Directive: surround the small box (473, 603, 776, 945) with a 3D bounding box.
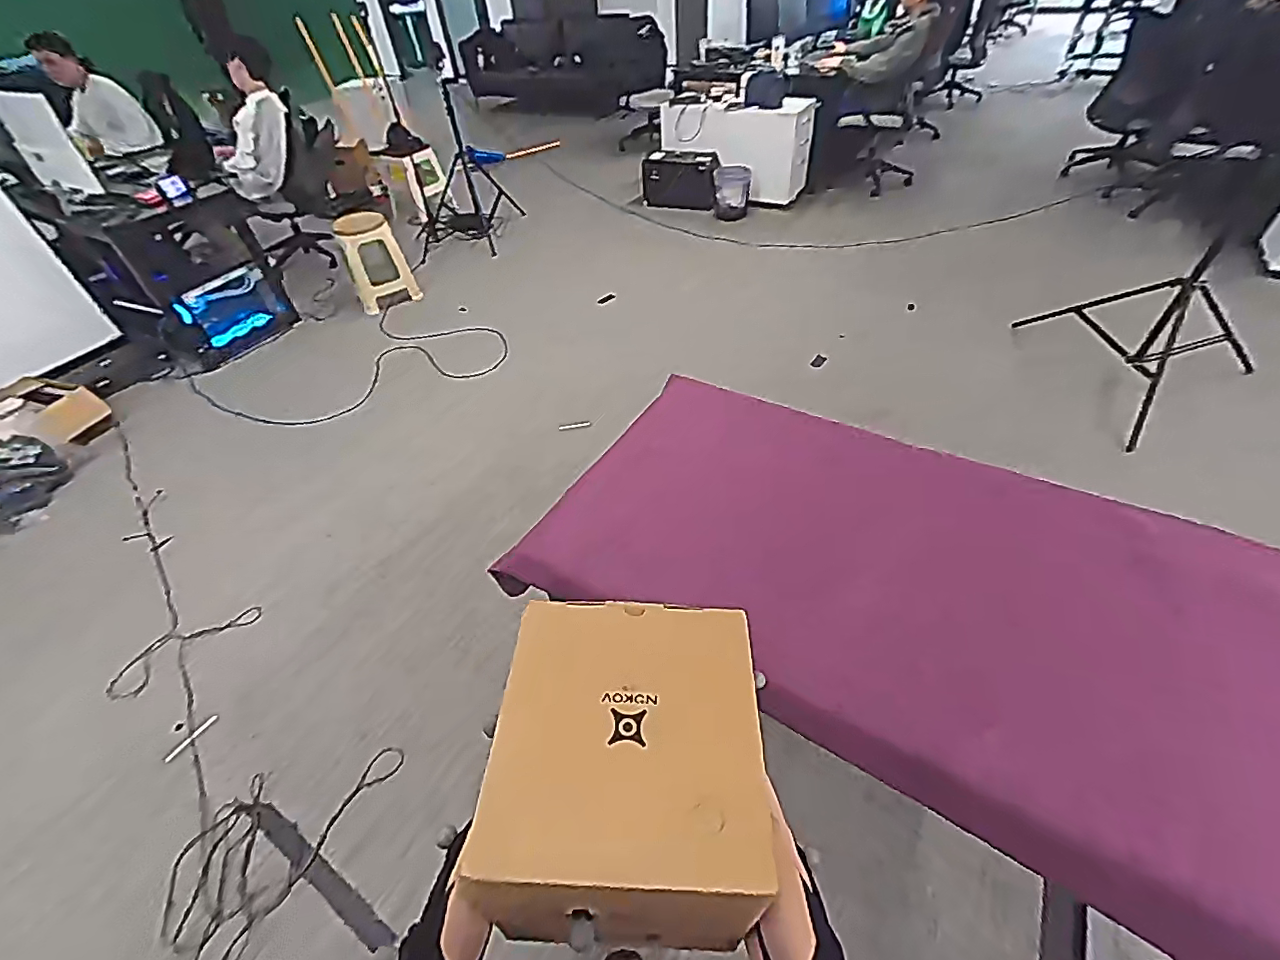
[{"bbox_3d":[-0.005,0.214,0.397,0.168,0.176,0.179,2,40,1],"label":"small box"}]
